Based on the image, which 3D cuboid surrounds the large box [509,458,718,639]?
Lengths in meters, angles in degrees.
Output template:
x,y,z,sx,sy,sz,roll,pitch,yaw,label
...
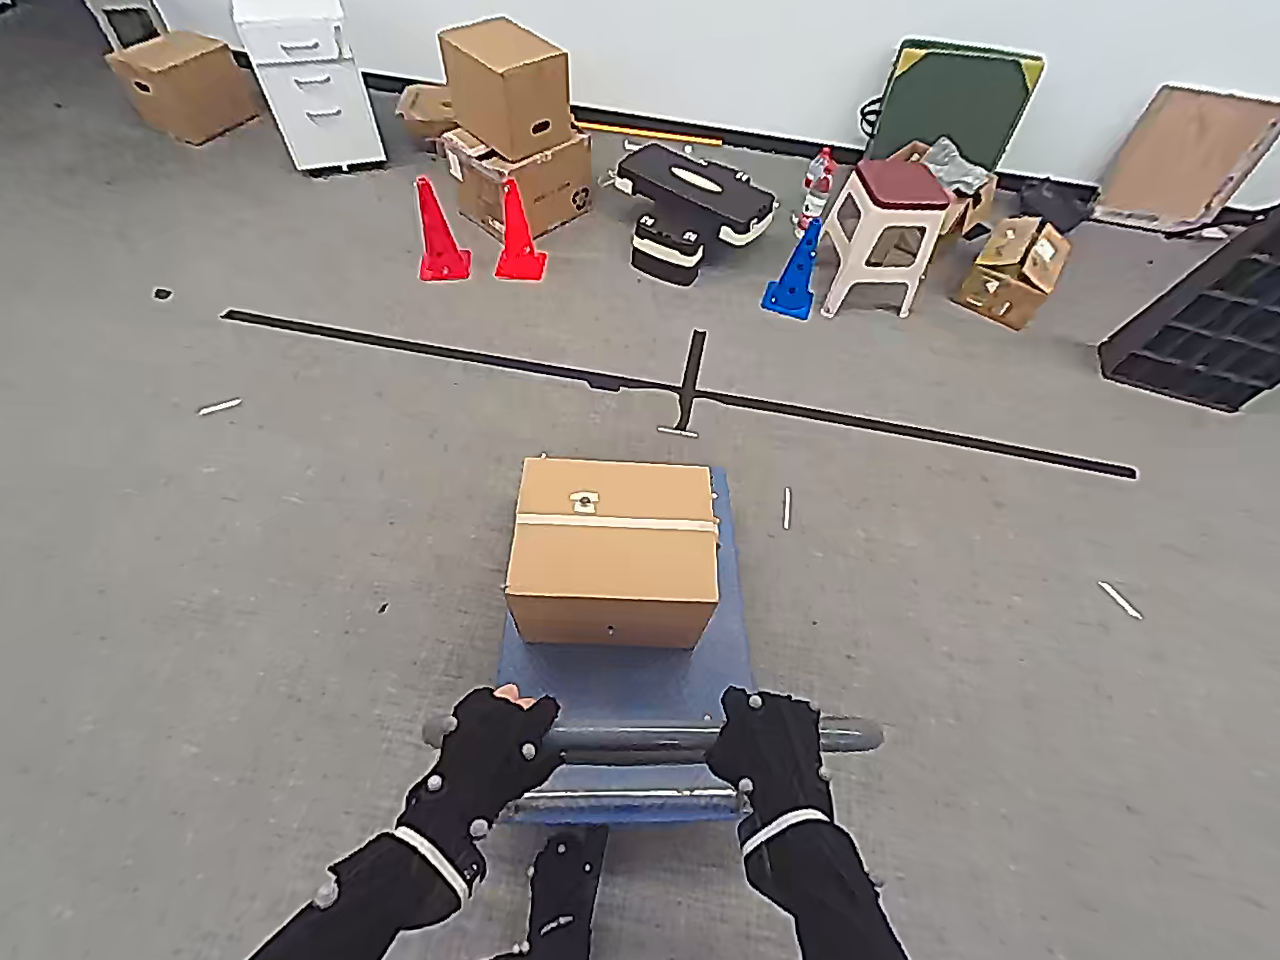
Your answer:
x,y,z,sx,sy,sz,roll,pitch,yaw,label
-0.054,0.167,1.228,0.408,0.320,0.320,3,57,-2,large box
